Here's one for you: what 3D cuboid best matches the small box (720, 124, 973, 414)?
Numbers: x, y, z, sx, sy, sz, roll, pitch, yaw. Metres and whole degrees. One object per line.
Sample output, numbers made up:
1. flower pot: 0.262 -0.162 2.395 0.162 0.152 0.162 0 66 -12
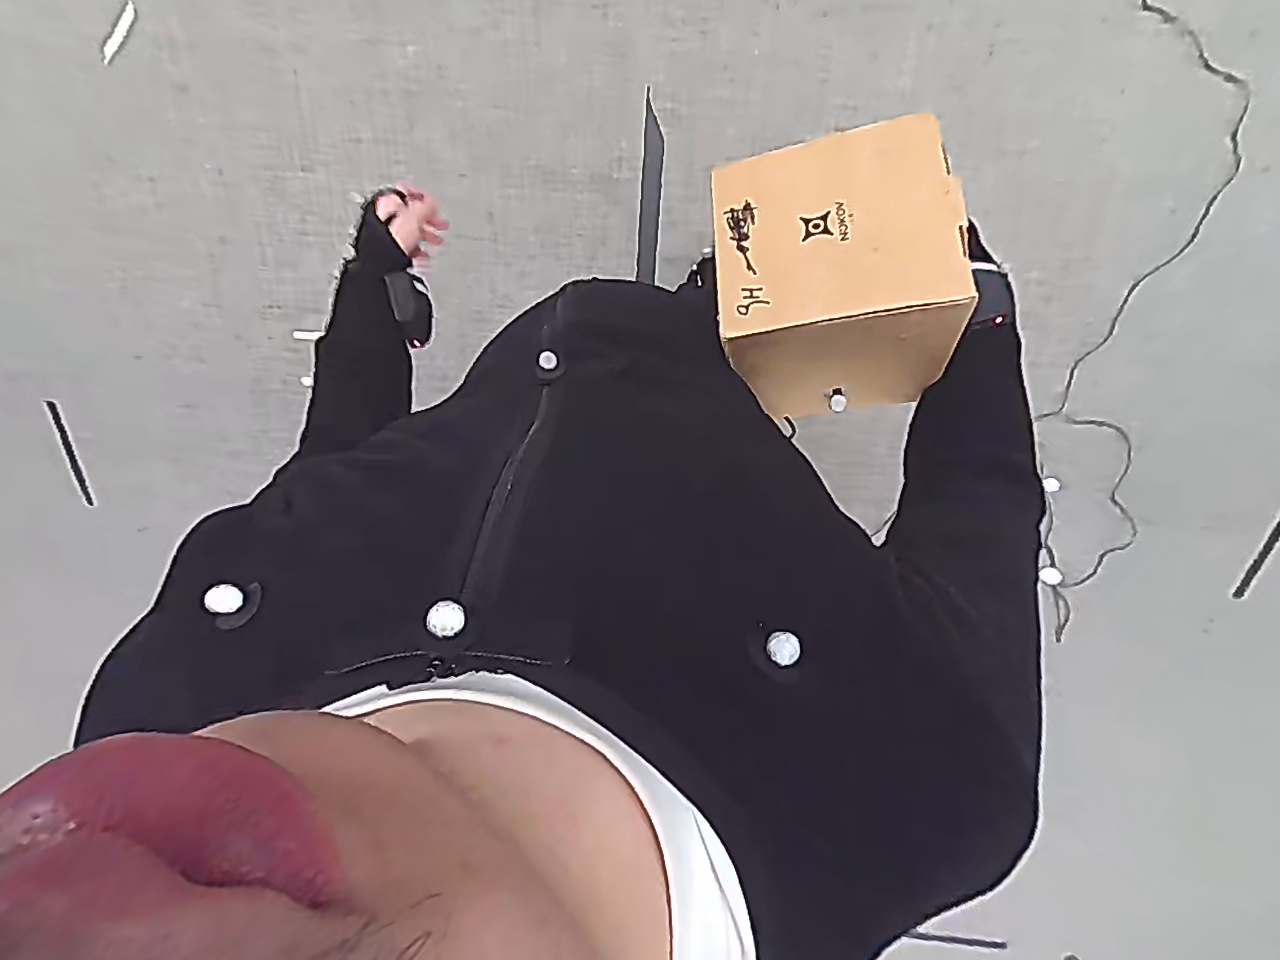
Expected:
1. small box: 0.174 -0.174 0.498 0.179 0.176 0.168 -5 72 16
